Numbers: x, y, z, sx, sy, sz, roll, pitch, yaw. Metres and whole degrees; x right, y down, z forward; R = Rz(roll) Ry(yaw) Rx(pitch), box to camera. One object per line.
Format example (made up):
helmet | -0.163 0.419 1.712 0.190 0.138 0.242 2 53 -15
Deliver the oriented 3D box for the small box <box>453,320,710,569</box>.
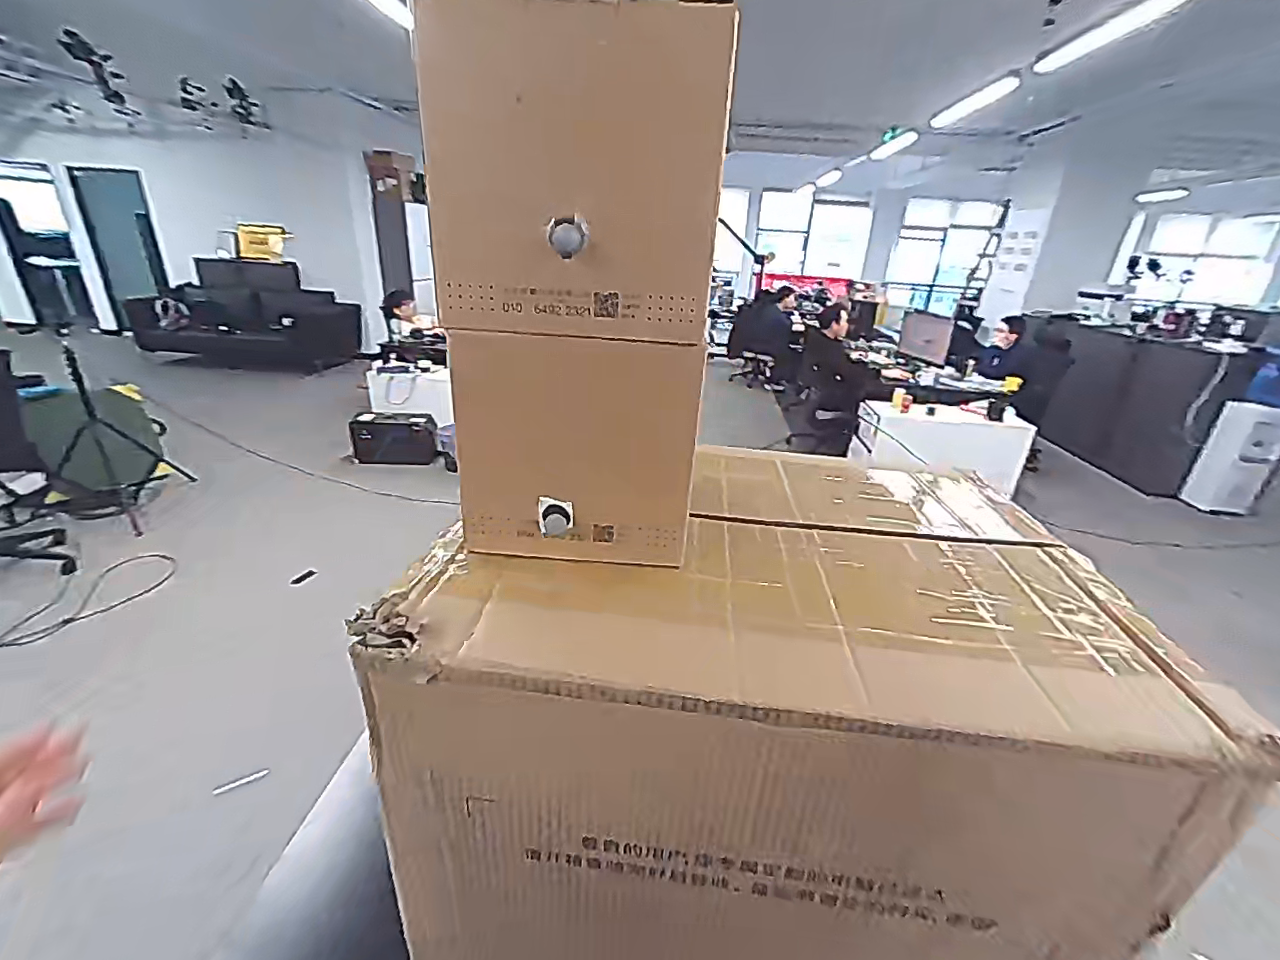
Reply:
small box | -0.041 -0.048 0.444 0.168 0.176 0.179 3 25 -1

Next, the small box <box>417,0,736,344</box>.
small box | -0.034 -0.198 0.374 0.168 0.176 0.179 4 24 1
